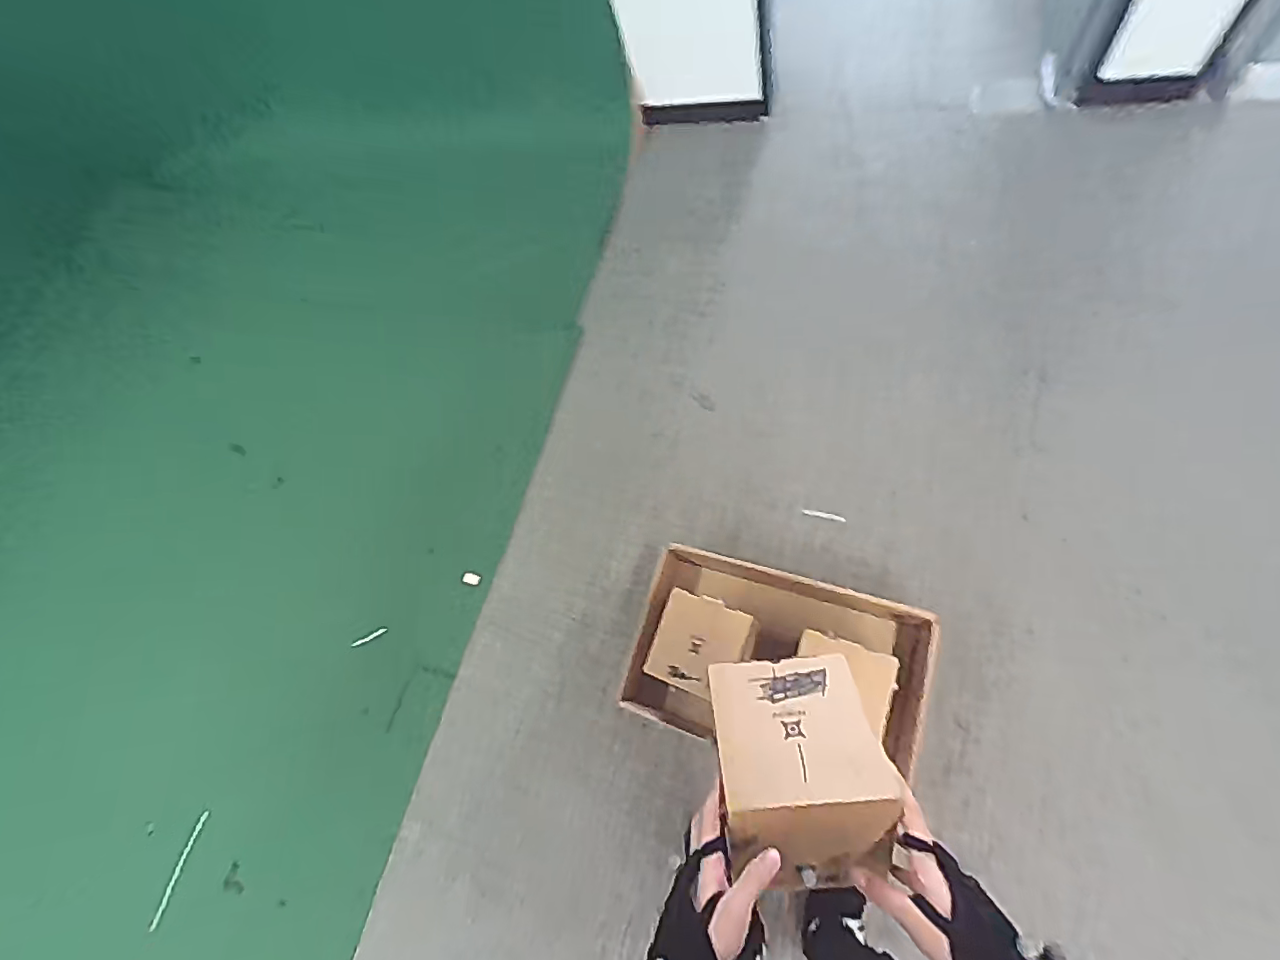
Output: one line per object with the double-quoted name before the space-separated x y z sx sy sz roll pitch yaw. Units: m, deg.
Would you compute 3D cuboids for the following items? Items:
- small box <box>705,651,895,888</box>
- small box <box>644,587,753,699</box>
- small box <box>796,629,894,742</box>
"small box" 0.169 0.328 0.625 0.168 0.176 0.179 -7 30 3
"small box" 0.129 0.345 1.124 0.168 0.176 0.179 18 75 21
"small box" 0.371 0.404 1.039 0.168 0.176 0.179 15 75 22
